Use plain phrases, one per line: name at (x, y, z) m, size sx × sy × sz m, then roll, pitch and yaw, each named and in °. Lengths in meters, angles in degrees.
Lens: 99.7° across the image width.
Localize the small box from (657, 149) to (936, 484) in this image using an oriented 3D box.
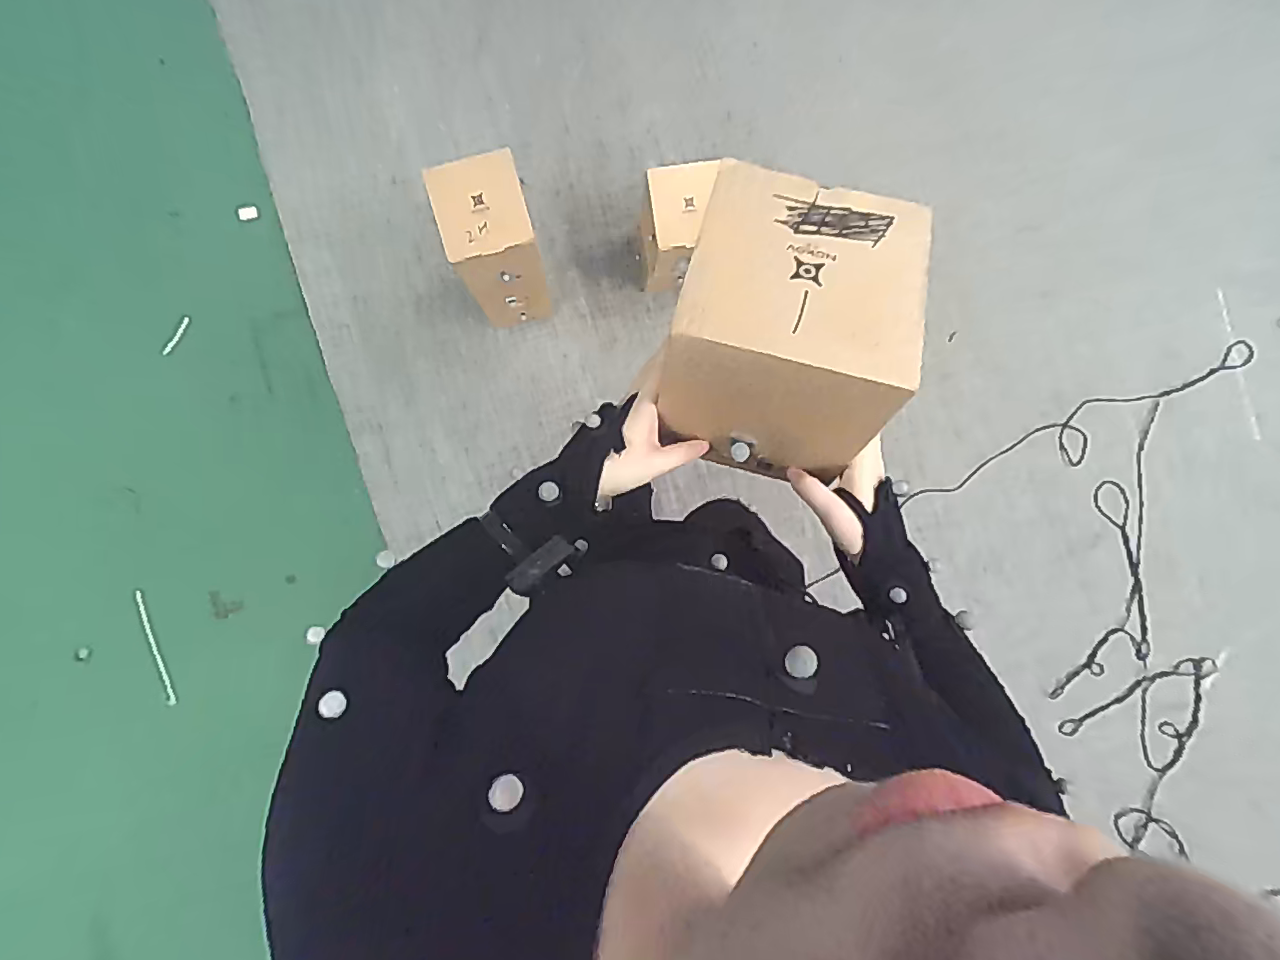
small box at (0.114, -0.122, 0.445) m, size 0.168 × 0.176 × 0.179 m, roll 15°, pitch 67°, yaw 4°

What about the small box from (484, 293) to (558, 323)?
small box at (-0.311, -0.510, 1.378) m, size 0.168 × 0.176 × 0.179 m, roll -13°, pitch 93°, yaw -3°

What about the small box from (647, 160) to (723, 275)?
small box at (0.111, -0.593, 1.237) m, size 0.168 × 0.176 × 0.179 m, roll -9°, pitch 93°, yaw -3°

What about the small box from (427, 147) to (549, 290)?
small box at (-0.286, -0.498, 1.052) m, size 0.168 × 0.176 × 0.179 m, roll -16°, pitch 92°, yaw -1°

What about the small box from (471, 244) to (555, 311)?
small box at (-0.298, -0.505, 1.216) m, size 0.168 × 0.176 × 0.179 m, roll -16°, pitch 93°, yaw -1°
